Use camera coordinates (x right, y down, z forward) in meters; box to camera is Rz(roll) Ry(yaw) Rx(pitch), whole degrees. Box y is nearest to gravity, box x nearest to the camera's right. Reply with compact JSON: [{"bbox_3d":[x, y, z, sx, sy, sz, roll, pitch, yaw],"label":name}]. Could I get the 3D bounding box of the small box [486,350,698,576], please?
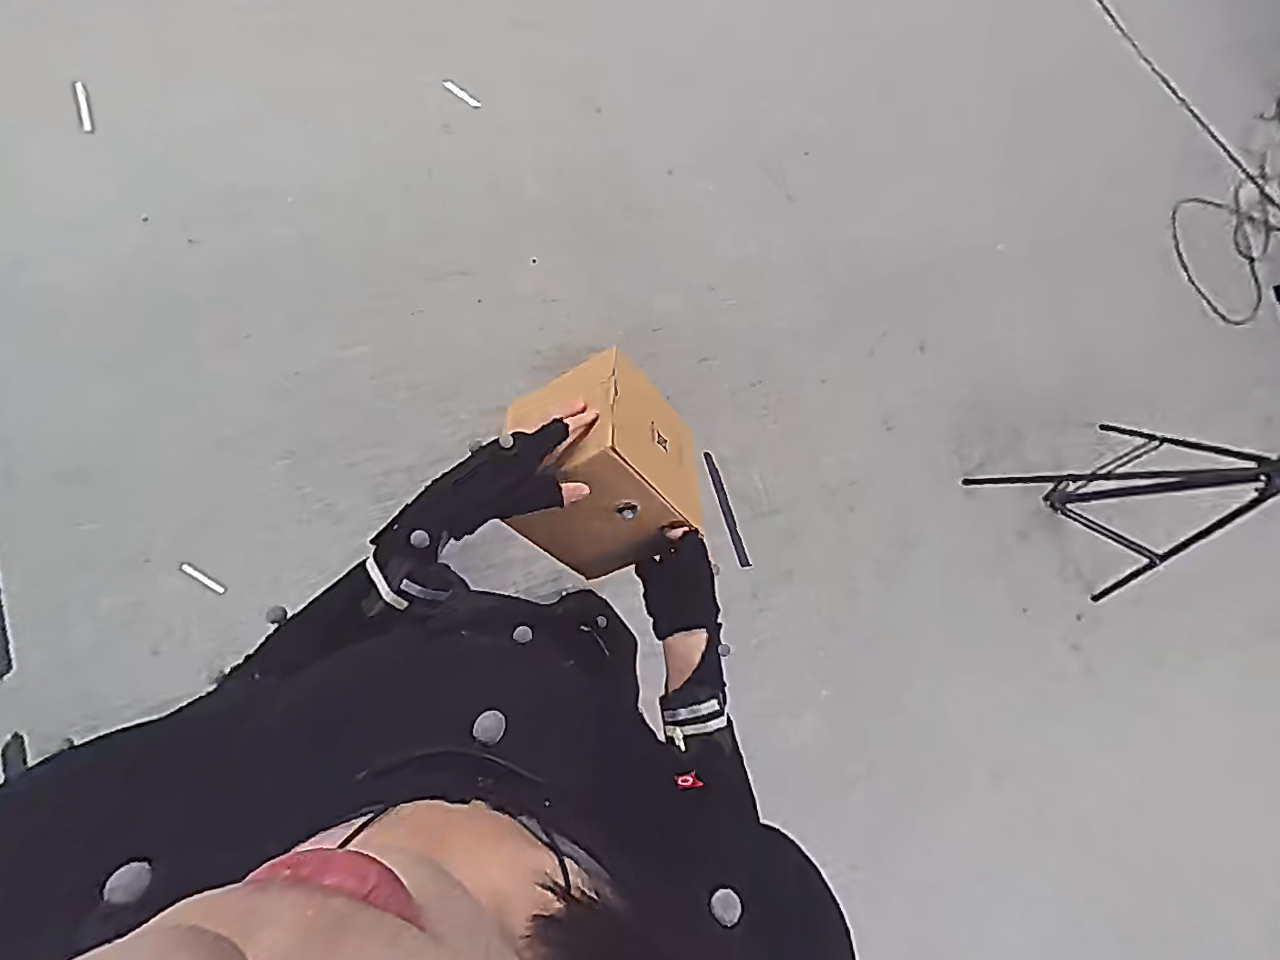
[{"bbox_3d":[-0.051,-0.010,0.631,0.179,0.176,0.168,46,31,-38],"label":"small box"}]
